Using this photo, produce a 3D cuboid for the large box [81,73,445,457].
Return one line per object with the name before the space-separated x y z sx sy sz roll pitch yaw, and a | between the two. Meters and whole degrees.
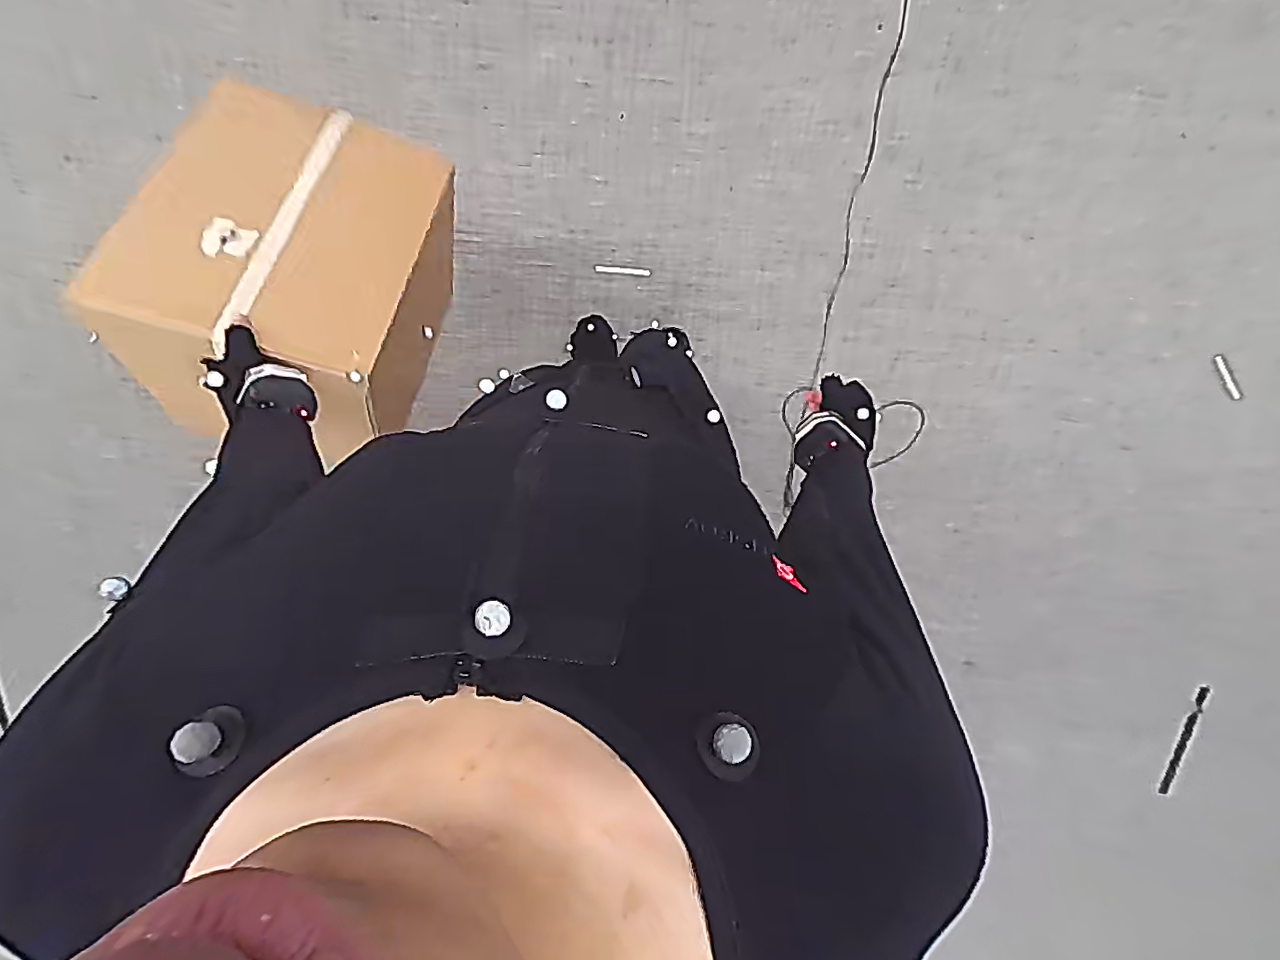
large box | -0.507 -0.300 0.844 0.320 0.320 0.408 14 68 -14
